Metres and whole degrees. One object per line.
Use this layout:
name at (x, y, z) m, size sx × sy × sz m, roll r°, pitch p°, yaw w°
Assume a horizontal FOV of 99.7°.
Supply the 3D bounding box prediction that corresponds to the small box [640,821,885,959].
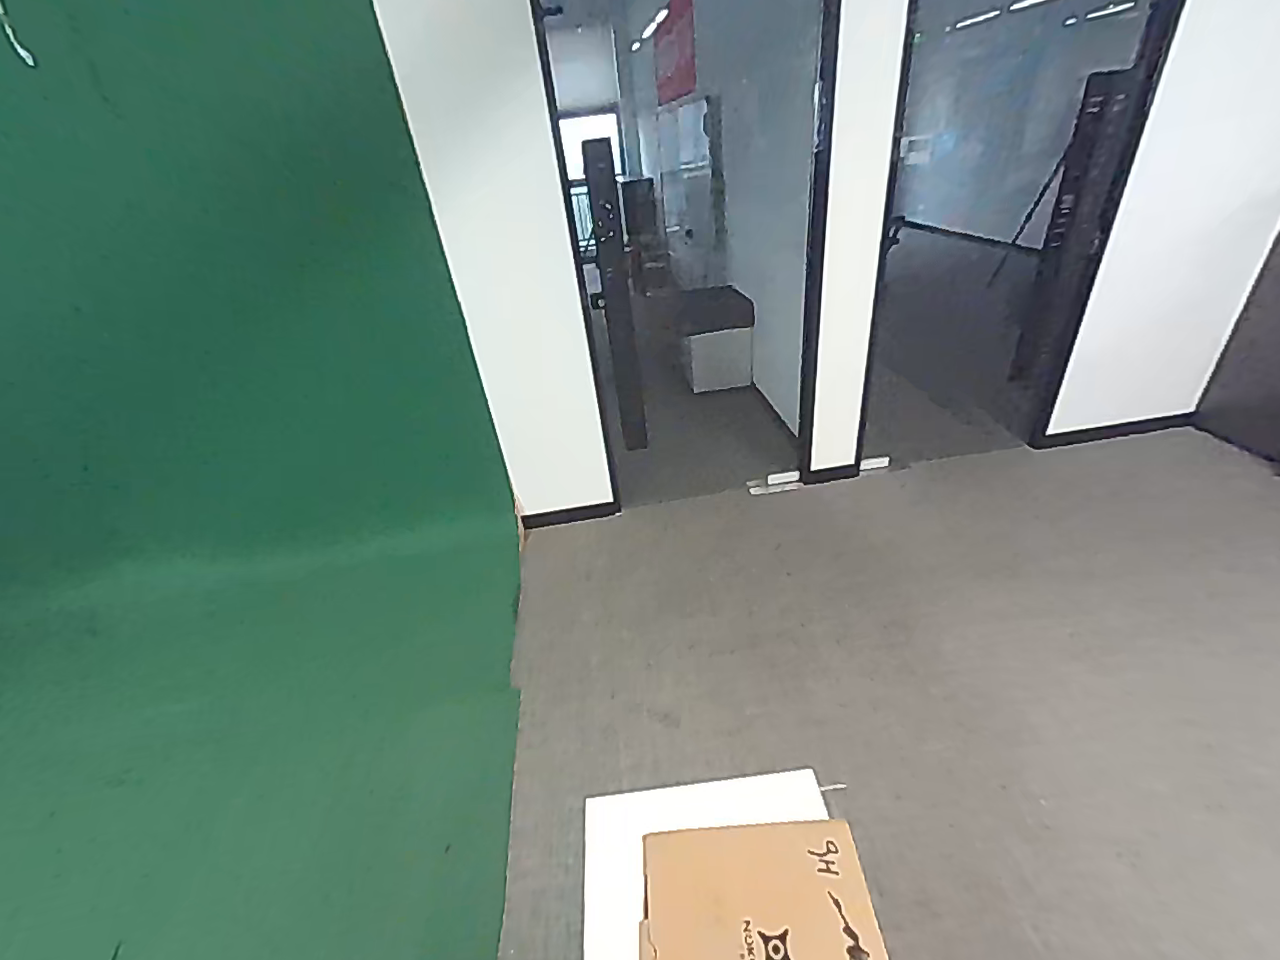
small box at (0.096, 0.406, 0.440) m, size 0.179 × 0.176 × 0.168 m, roll -5°, pitch 36°, yaw 3°
